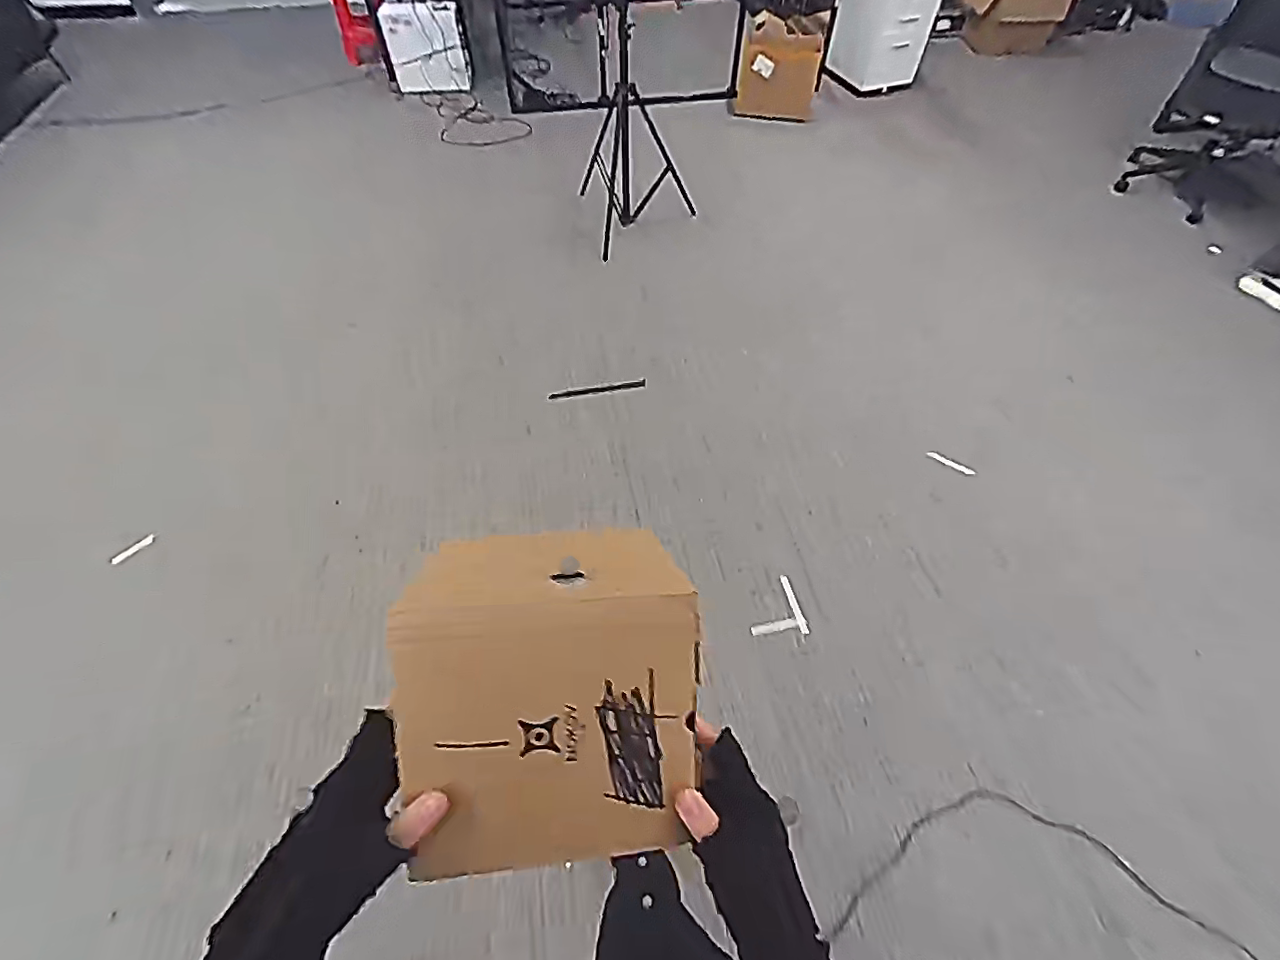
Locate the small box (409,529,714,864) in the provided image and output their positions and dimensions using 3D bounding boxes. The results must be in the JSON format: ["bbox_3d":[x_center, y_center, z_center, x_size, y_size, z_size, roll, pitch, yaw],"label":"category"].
[{"bbox_3d":[-0.055,0.132,0.396,0.179,0.176,0.168,-1,96,-9],"label":"small box"}]
